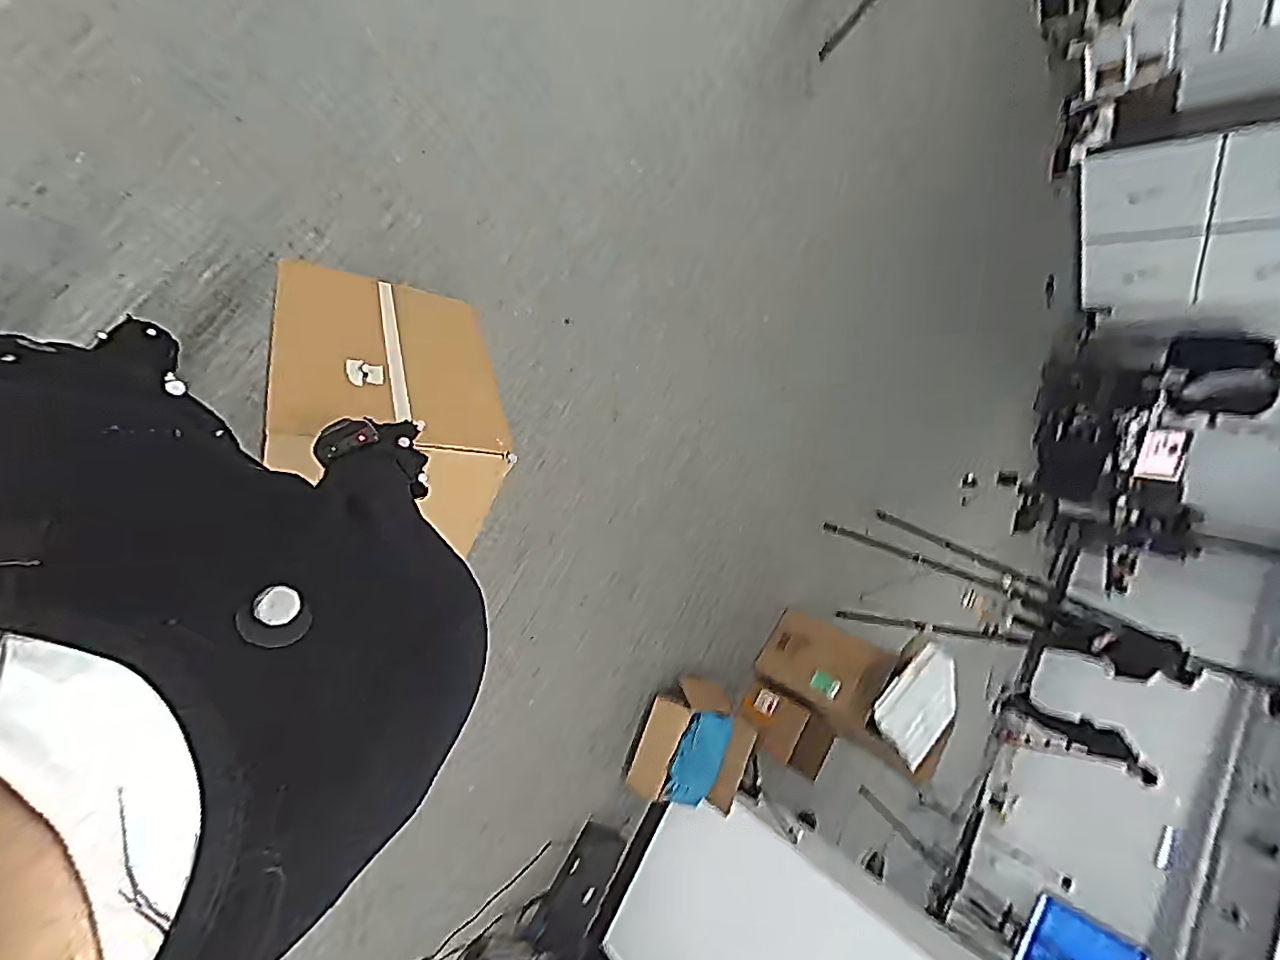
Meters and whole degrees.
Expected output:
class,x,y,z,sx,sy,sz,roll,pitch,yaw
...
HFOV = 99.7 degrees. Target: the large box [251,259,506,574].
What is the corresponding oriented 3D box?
class,x,y,z,sx,sy,sz,roll,pitch,yaw
large box,-0.460,-0.095,0.917,0.320,0.408,0.320,3,139,-34
